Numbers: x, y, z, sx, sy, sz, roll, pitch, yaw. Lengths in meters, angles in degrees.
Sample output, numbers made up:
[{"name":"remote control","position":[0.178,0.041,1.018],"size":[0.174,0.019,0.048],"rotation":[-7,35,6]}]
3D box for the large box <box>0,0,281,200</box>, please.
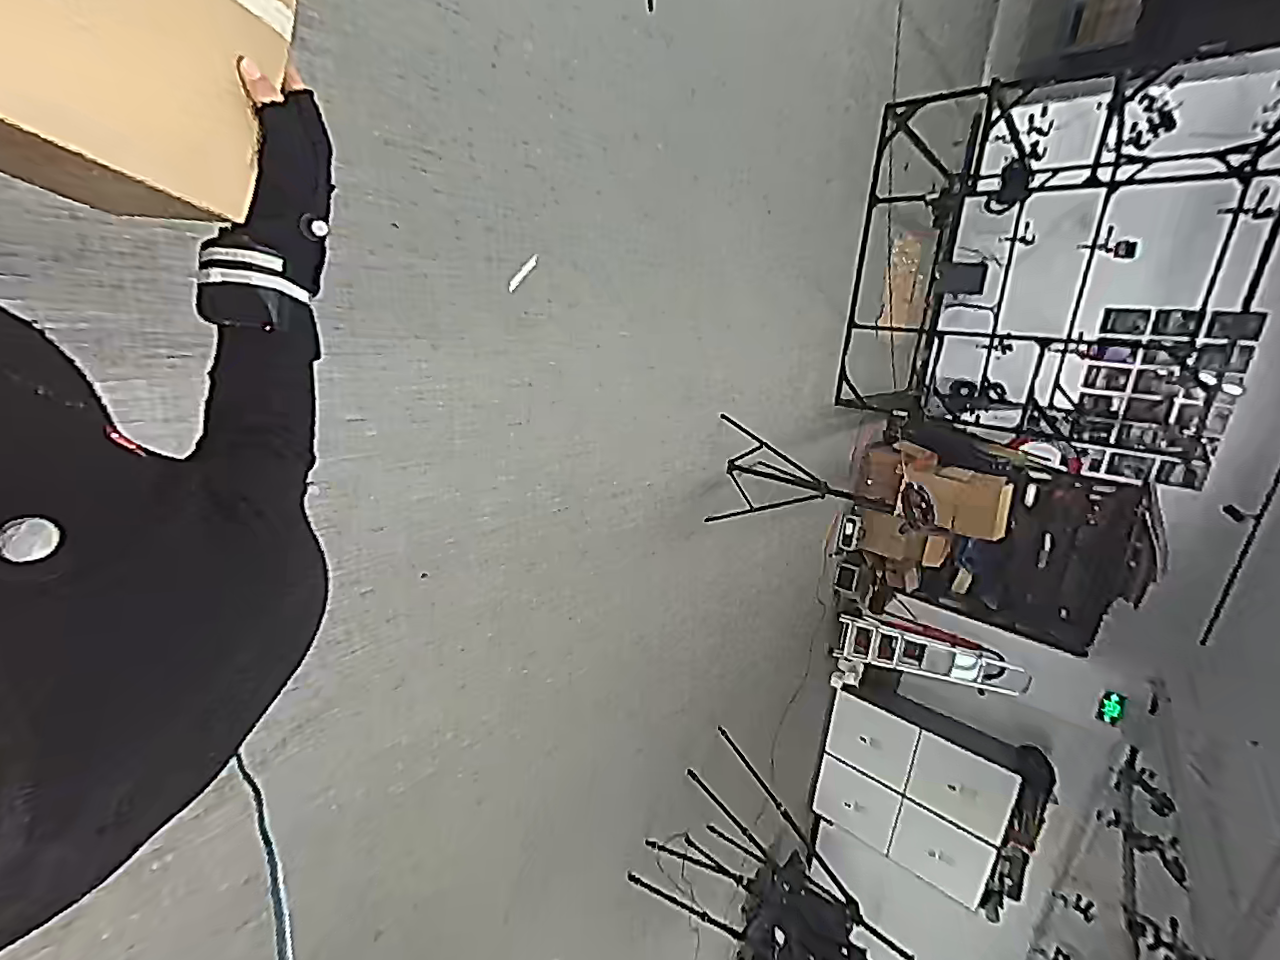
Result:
[{"name":"large box","position":[-0.508,-0.423,0.330],"size":[0.408,0.320,0.320],"rotation":[9,98,-59]}]
